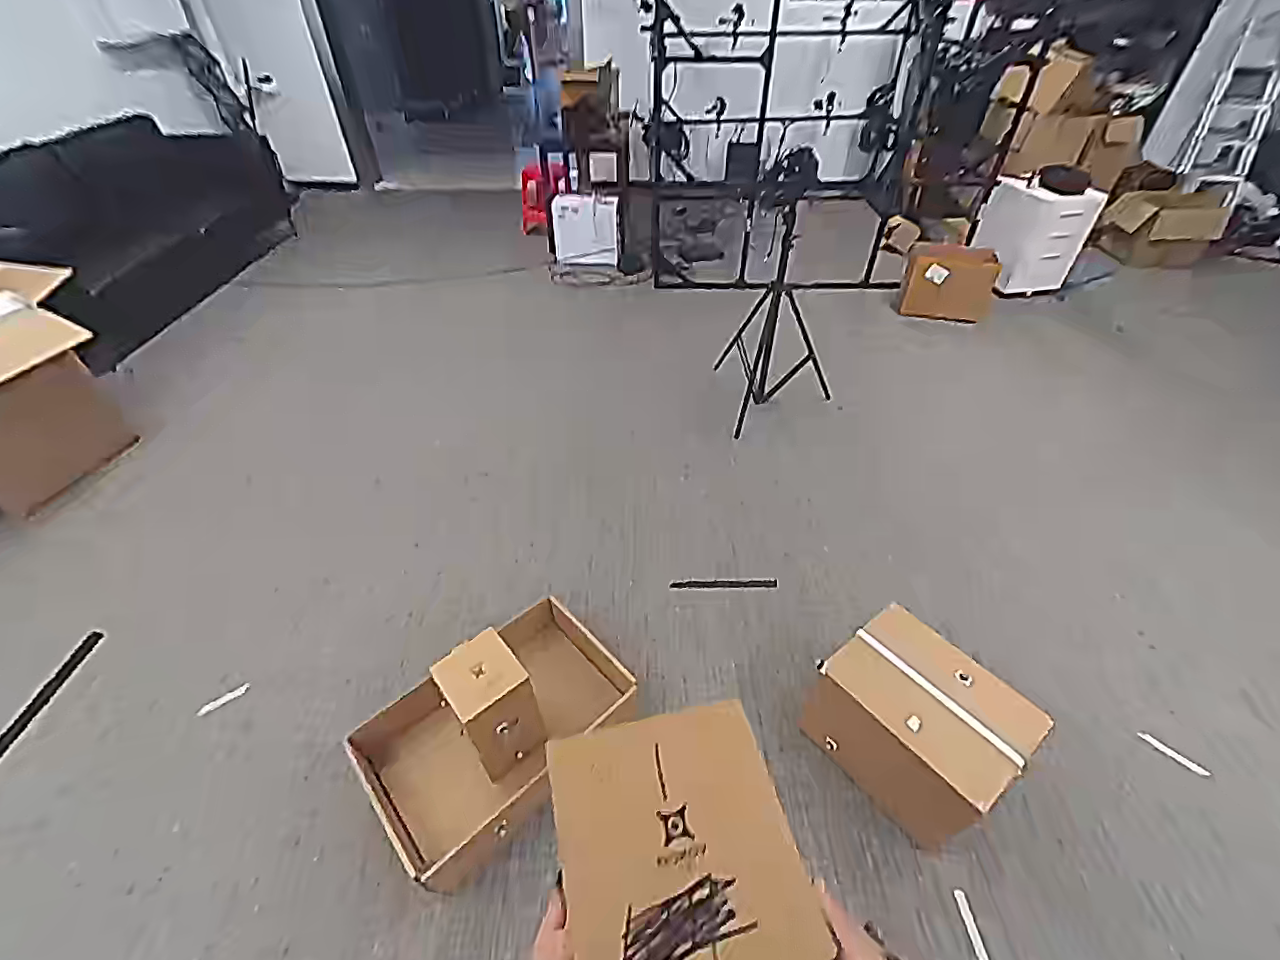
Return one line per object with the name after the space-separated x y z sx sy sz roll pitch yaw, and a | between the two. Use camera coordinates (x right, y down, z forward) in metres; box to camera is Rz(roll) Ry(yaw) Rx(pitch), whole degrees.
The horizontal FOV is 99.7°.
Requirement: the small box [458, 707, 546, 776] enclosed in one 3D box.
-0.358 0.606 1.375 0.168 0.176 0.179 -30 50 -28 | small box

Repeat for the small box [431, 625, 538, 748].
-0.360 0.485 1.267 0.168 0.176 0.179 -31 51 -28 | small box

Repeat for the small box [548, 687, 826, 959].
0.021 0.302 0.448 0.168 0.176 0.179 -8 48 -13 | small box
